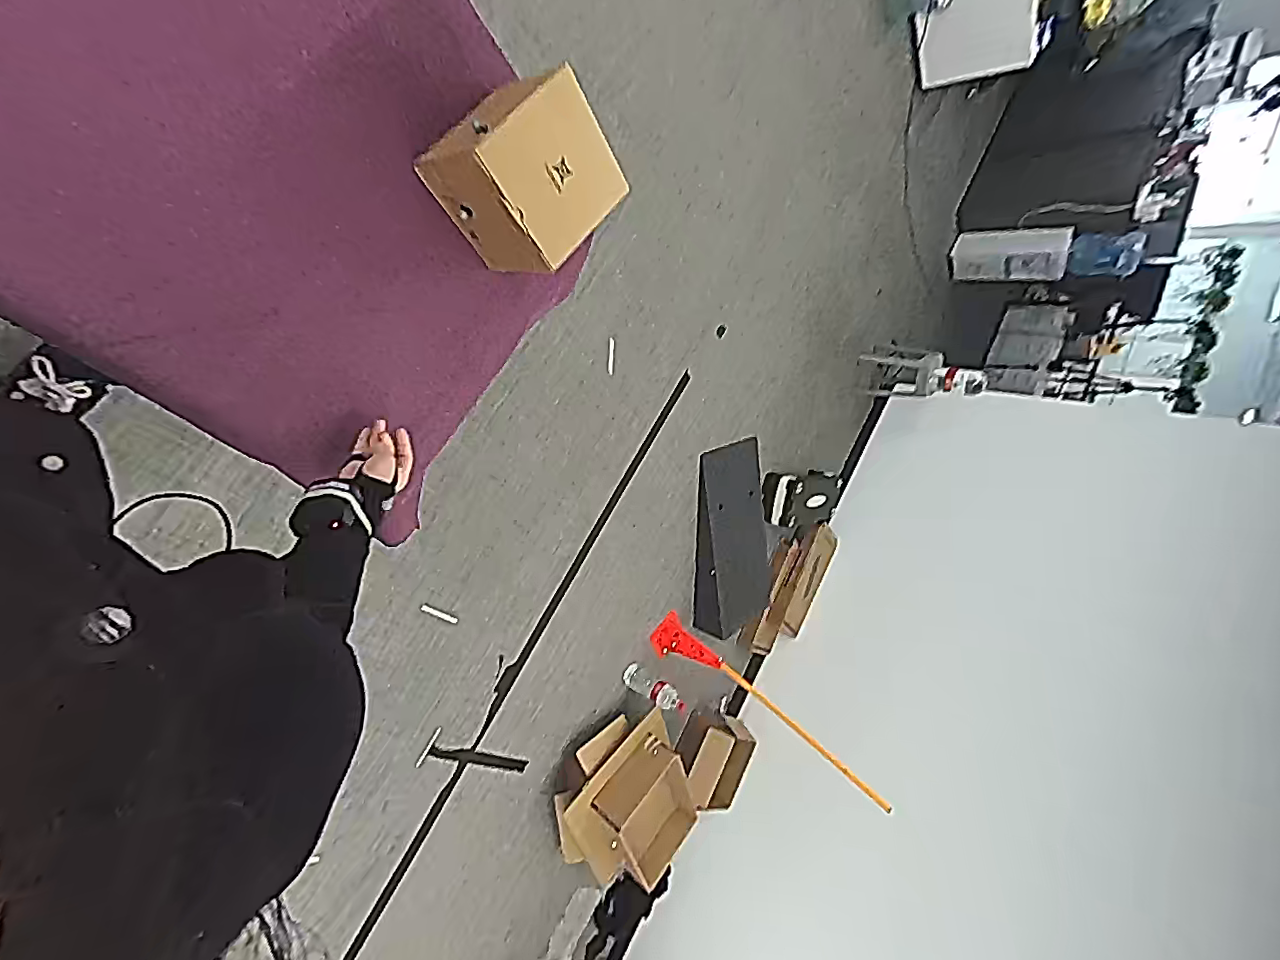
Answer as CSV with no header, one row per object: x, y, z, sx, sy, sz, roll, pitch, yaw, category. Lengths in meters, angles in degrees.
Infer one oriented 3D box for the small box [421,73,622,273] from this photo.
-0.163,-0.413,0.745,0.179,0.176,0.168,-53,137,-15,small box
